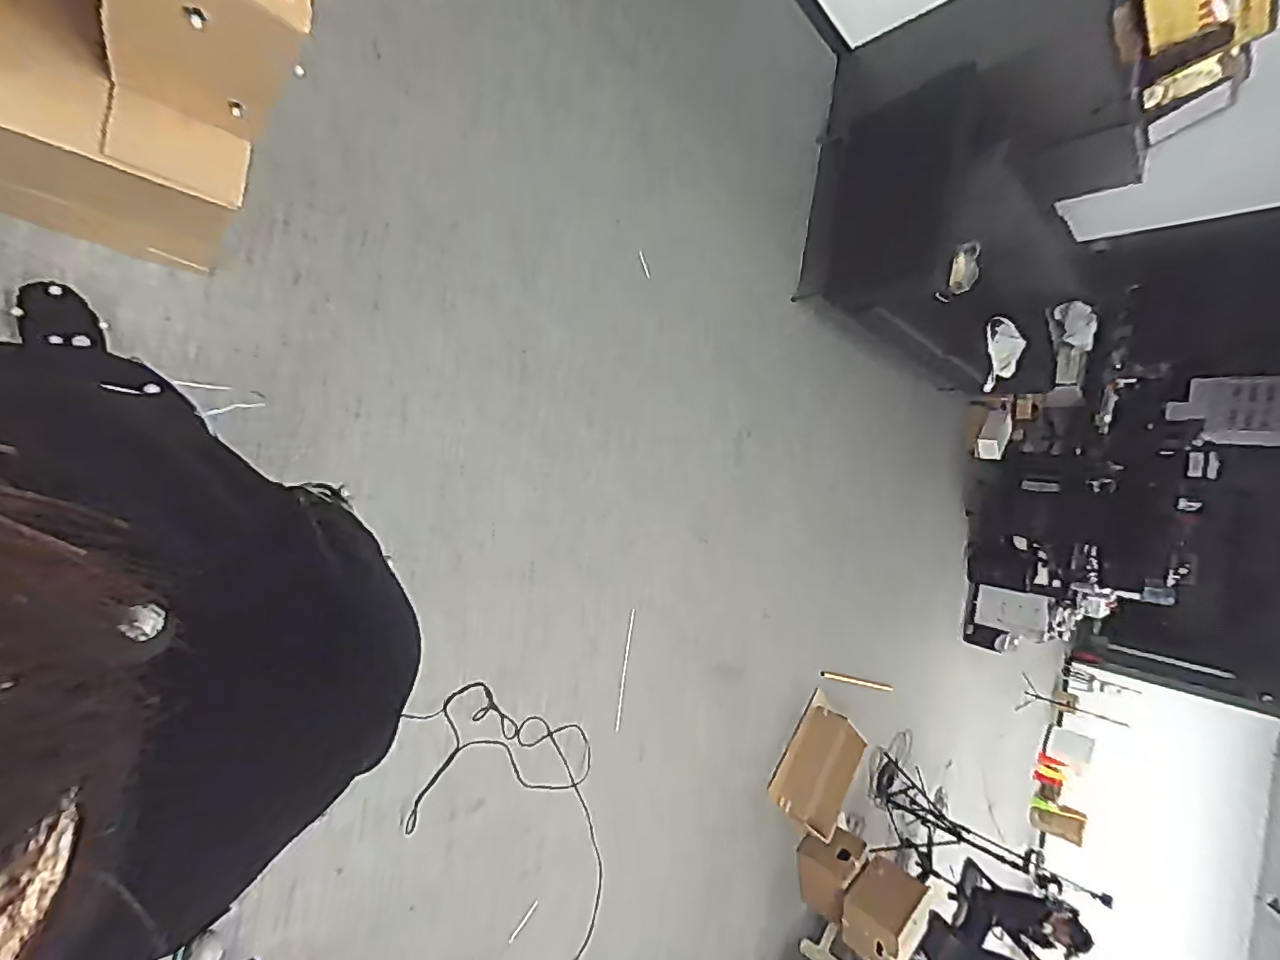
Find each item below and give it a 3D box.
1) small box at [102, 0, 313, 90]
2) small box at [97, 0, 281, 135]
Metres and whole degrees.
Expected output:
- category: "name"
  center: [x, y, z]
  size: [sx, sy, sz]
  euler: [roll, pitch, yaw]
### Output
- category: "small box"
  center: [-0.479, -0.587, 0.608]
  size: [0.179, 0.176, 0.168]
  euler: [9, 89, -41]
- category: "small box"
  center: [-0.591, -0.603, 0.725]
  size: [0.179, 0.176, 0.168]
  euler: [8, 90, -42]
